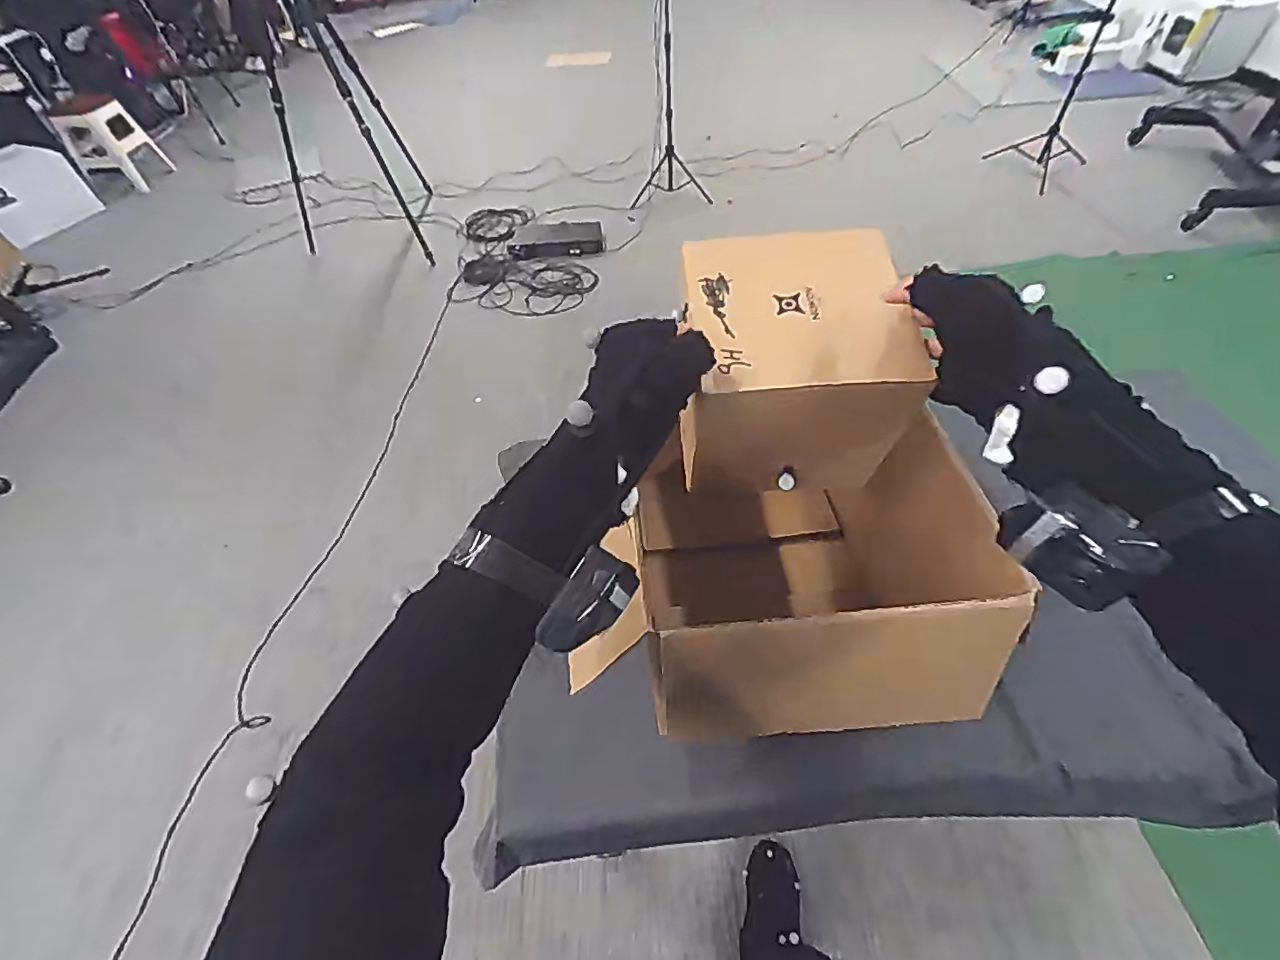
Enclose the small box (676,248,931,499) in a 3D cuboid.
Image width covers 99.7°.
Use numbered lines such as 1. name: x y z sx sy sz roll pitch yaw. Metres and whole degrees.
1. small box: 0.130 -0.093 0.512 0.179 0.176 0.168 -3 59 -1
